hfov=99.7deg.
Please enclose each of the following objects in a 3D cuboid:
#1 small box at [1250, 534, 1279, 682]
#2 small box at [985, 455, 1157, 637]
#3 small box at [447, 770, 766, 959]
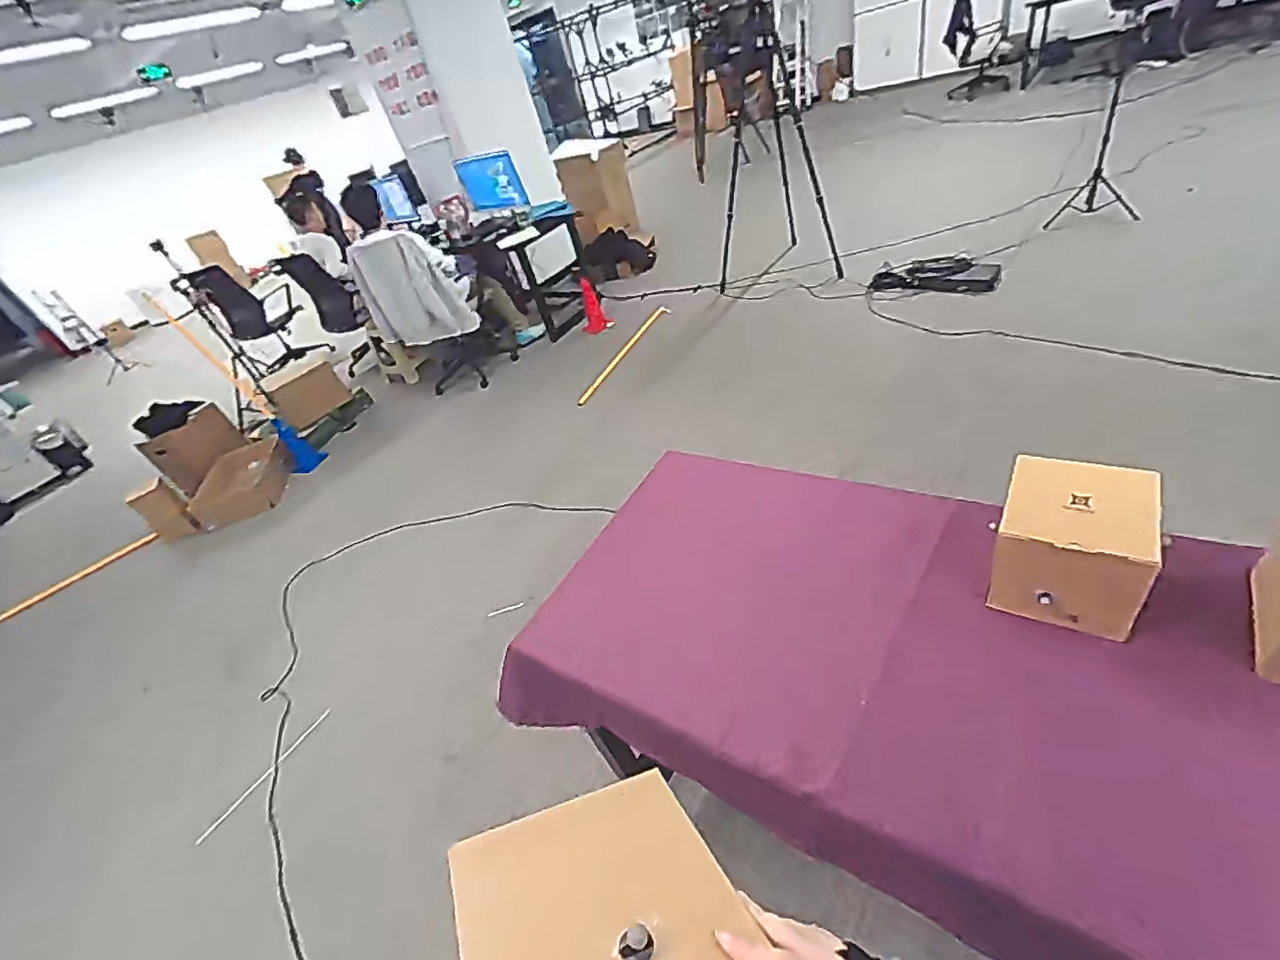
[{"bbox_3d":[0.844,0.142,0.615,0.168,0.176,0.179,13,51,37],"label":"small box"},{"bbox_3d":[0.618,0.092,0.787,0.168,0.176,0.179,12,49,35],"label":"small box"},{"bbox_3d":[-0.033,0.349,0.388,0.179,0.168,0.176,-7,15,-22],"label":"small box"}]
